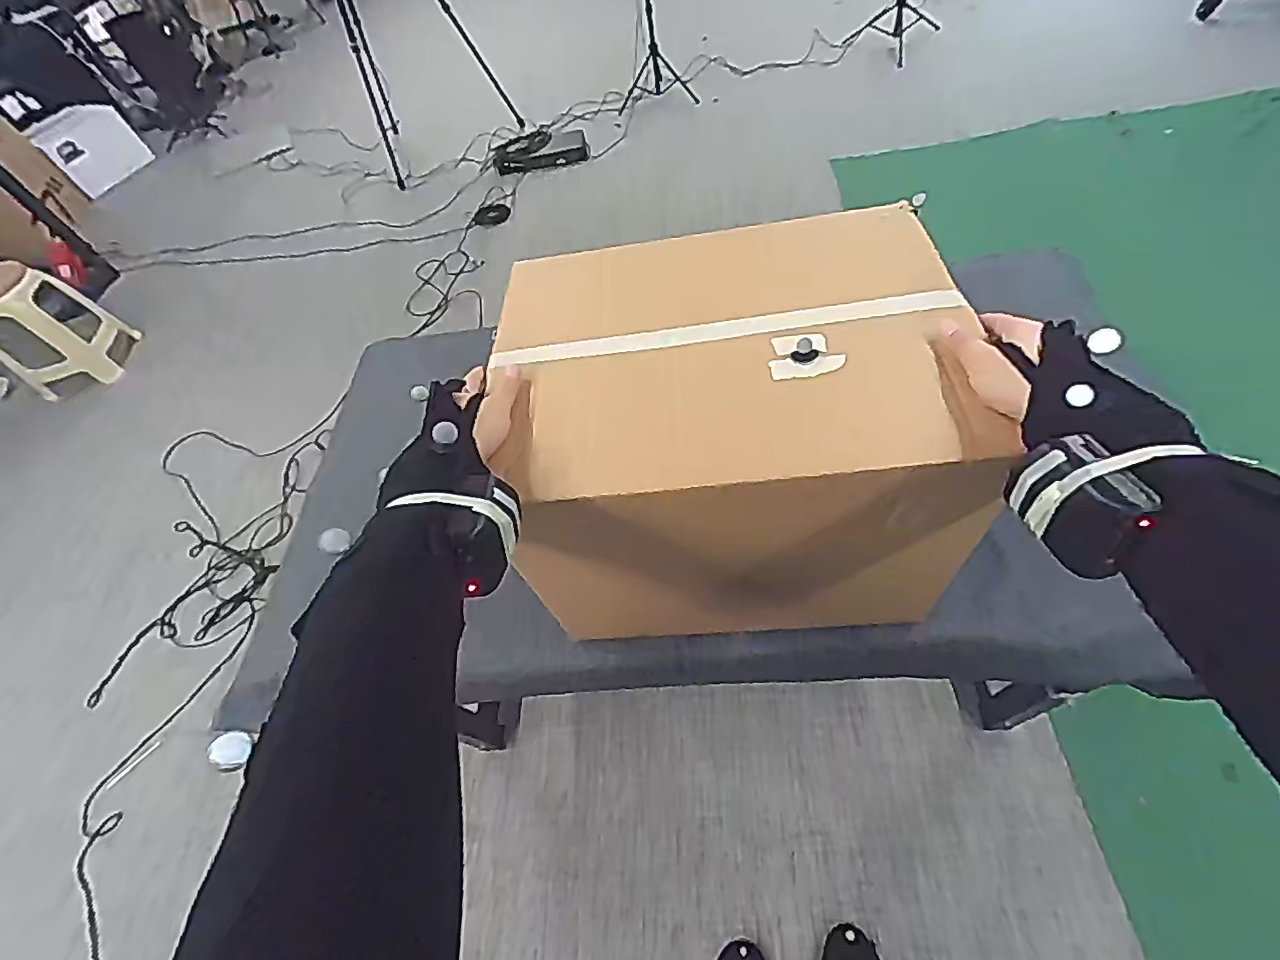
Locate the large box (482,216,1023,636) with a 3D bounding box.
[{"bbox_3d":[0.089,-0.039,0.599,0.408,0.320,0.320,-5,55,6],"label":"large box"}]
